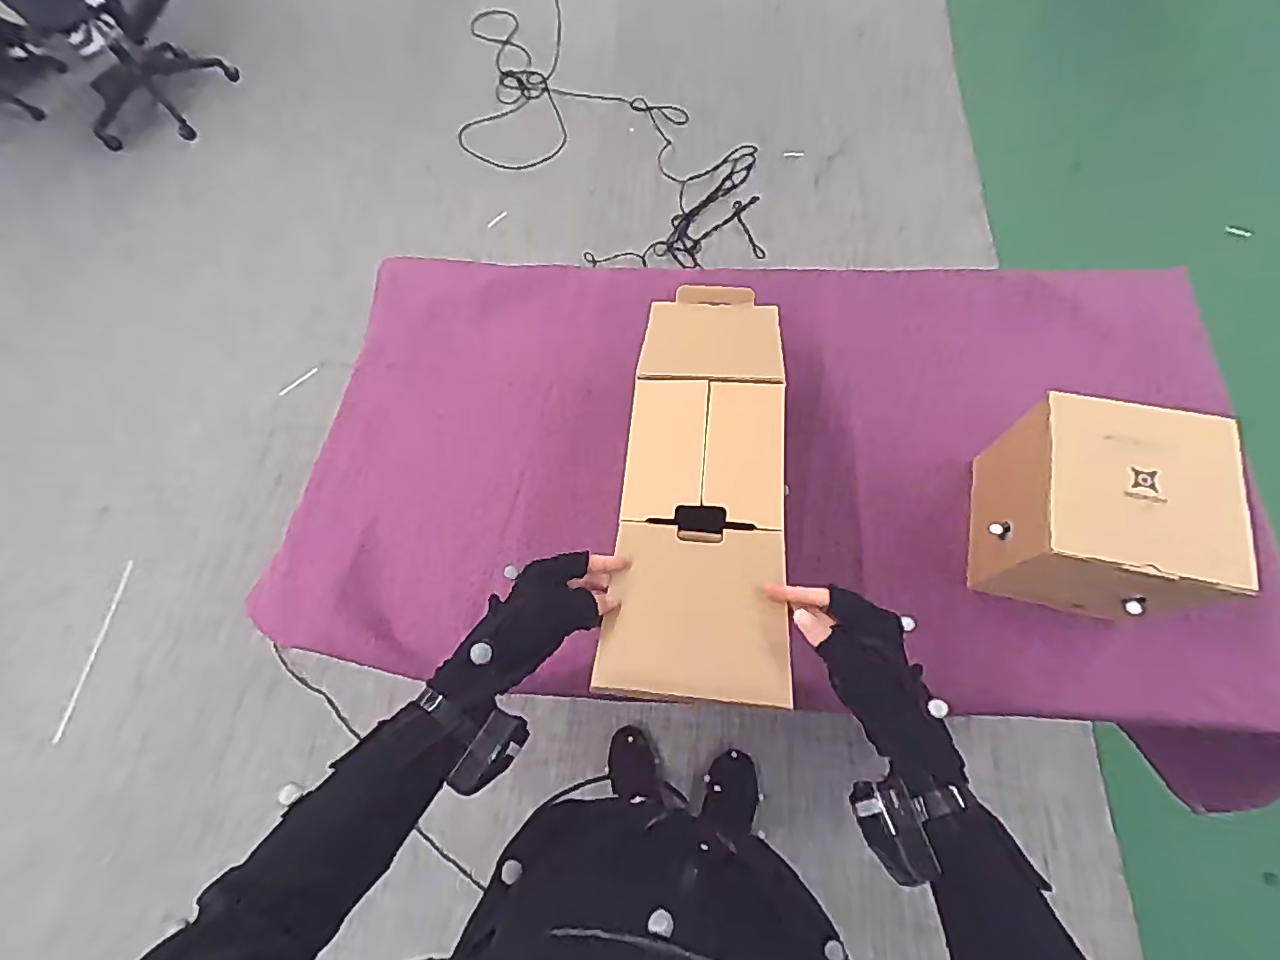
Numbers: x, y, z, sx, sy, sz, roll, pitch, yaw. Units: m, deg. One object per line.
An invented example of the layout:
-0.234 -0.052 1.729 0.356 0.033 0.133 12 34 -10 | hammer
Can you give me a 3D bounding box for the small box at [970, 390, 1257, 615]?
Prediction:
0.477 0.033 0.576 0.168 0.176 0.179 12 69 11 | small box
